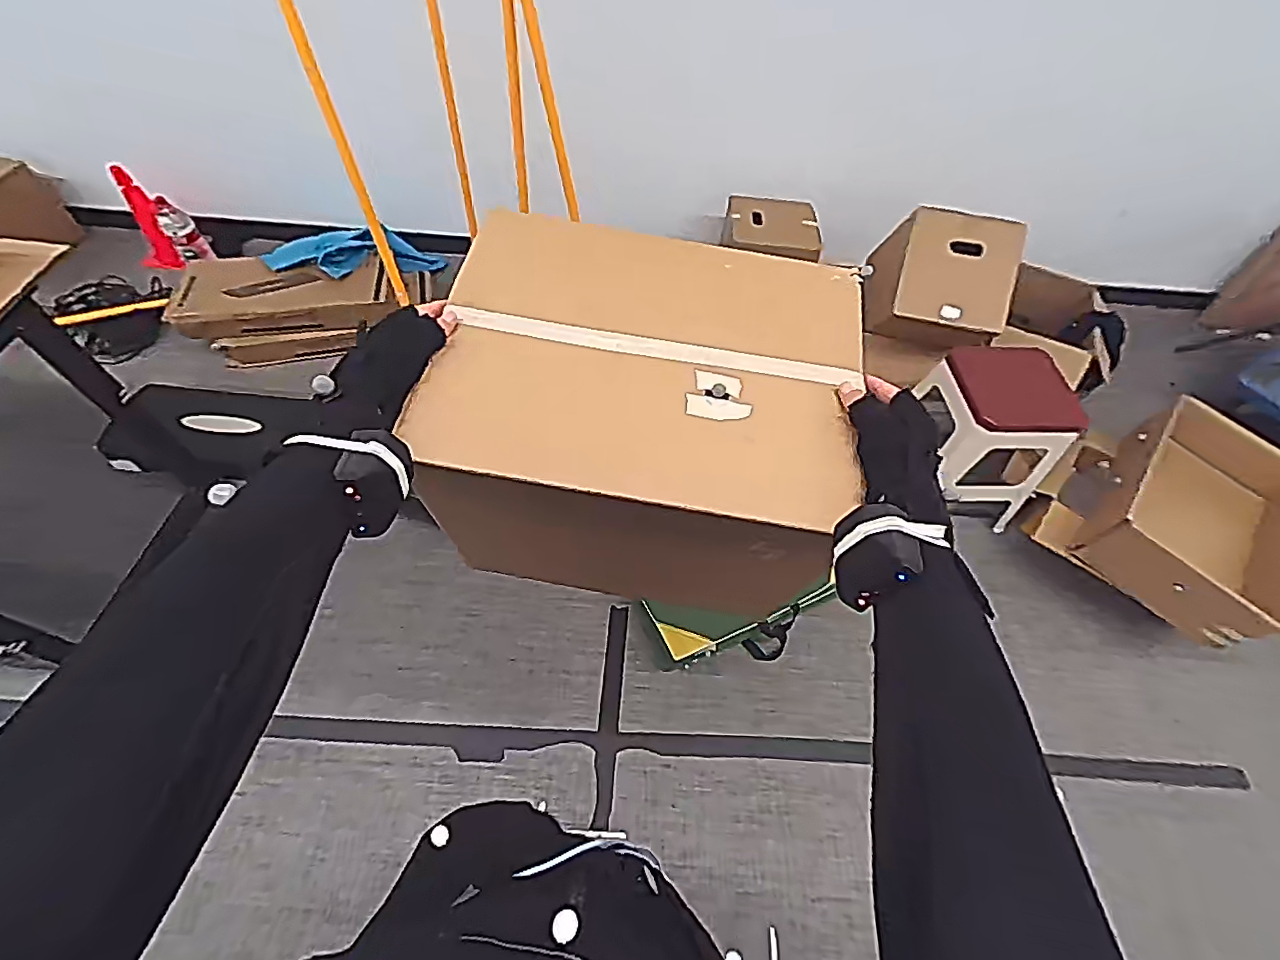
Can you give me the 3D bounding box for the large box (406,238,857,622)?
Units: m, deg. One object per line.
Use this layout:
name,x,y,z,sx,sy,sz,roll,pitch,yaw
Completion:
large box,0.000,-0.039,0.663,0.408,0.320,0.320,10,63,0
